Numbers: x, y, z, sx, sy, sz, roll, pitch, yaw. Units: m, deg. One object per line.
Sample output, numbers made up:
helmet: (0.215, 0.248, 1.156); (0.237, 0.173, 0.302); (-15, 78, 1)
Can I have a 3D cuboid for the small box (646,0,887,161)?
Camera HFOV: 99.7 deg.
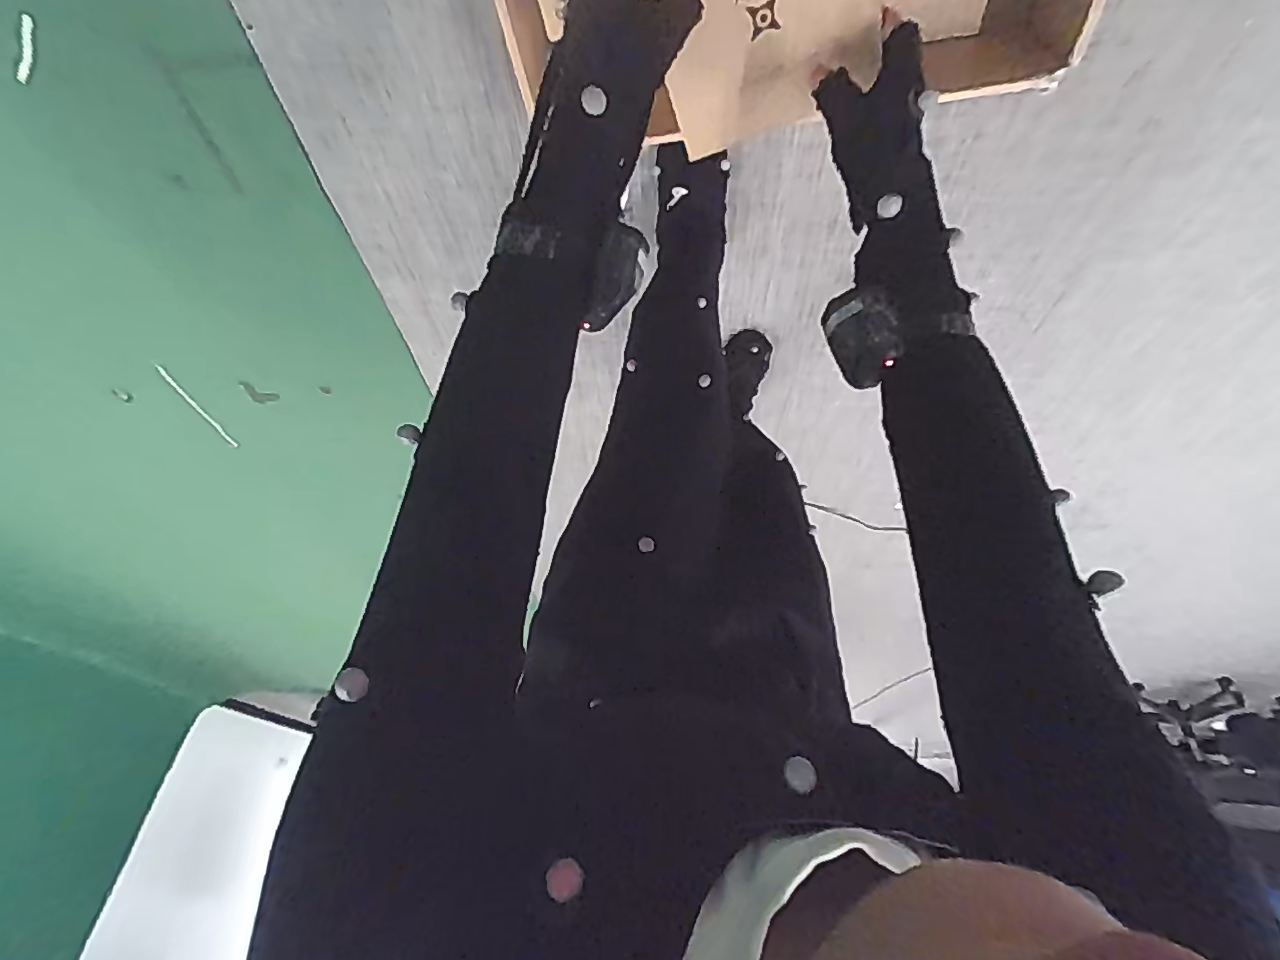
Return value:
small box: (0.096, -0.413, 0.436); (0.168, 0.176, 0.179); (-9, 151, 20)
